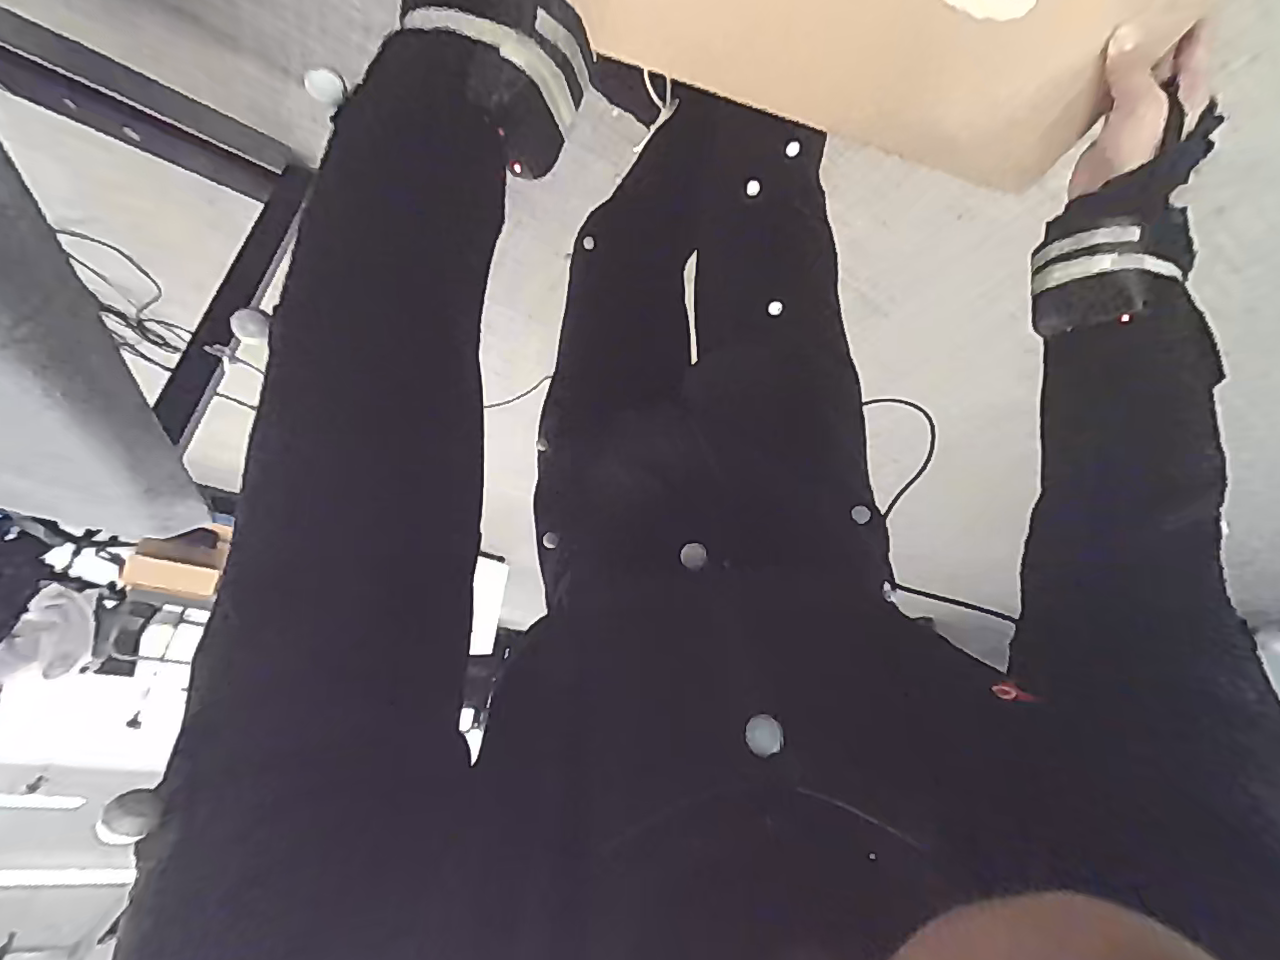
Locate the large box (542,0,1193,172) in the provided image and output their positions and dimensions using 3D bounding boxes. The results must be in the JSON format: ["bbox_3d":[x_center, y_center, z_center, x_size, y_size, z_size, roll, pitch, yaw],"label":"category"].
[{"bbox_3d":[0.162,-0.474,0.341,0.408,0.320,0.320,8,151,-13],"label":"large box"}]
